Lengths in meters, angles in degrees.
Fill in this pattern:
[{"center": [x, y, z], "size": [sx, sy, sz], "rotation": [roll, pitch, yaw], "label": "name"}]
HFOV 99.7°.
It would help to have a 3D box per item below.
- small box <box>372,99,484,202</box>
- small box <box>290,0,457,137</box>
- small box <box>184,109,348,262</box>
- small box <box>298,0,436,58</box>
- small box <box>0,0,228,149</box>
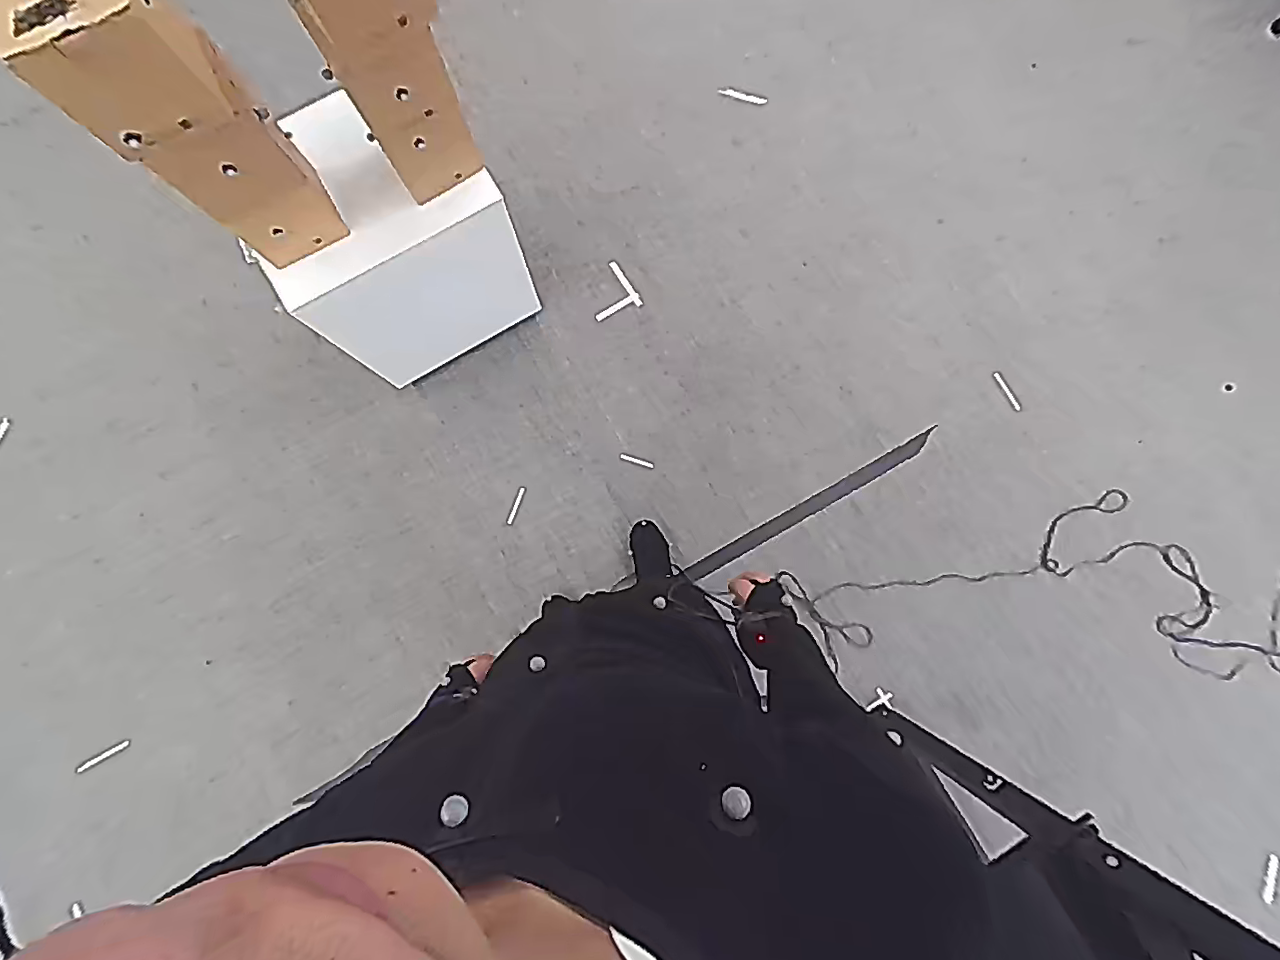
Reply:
[{"center": [-0.440, -0.701, 1.070], "size": [0.168, 0.176, 0.179], "rotation": [-33, 85, -3], "label": "small box"}, {"center": [-0.437, -0.720, 0.906], "size": [0.168, 0.176, 0.179], "rotation": [-32, 85, -4], "label": "small box"}, {"center": [-0.710, -0.555, 1.050], "size": [0.168, 0.176, 0.179], "rotation": [-30, 85, -5], "label": "small box"}, {"center": [-0.416, -0.735, 0.744], "size": [0.168, 0.176, 0.179], "rotation": [-37, 85, -5], "label": "small box"}, {"center": [-0.707, -0.585, 0.721], "size": [0.168, 0.176, 0.179], "rotation": [-27, 84, -4], "label": "small box"}]
